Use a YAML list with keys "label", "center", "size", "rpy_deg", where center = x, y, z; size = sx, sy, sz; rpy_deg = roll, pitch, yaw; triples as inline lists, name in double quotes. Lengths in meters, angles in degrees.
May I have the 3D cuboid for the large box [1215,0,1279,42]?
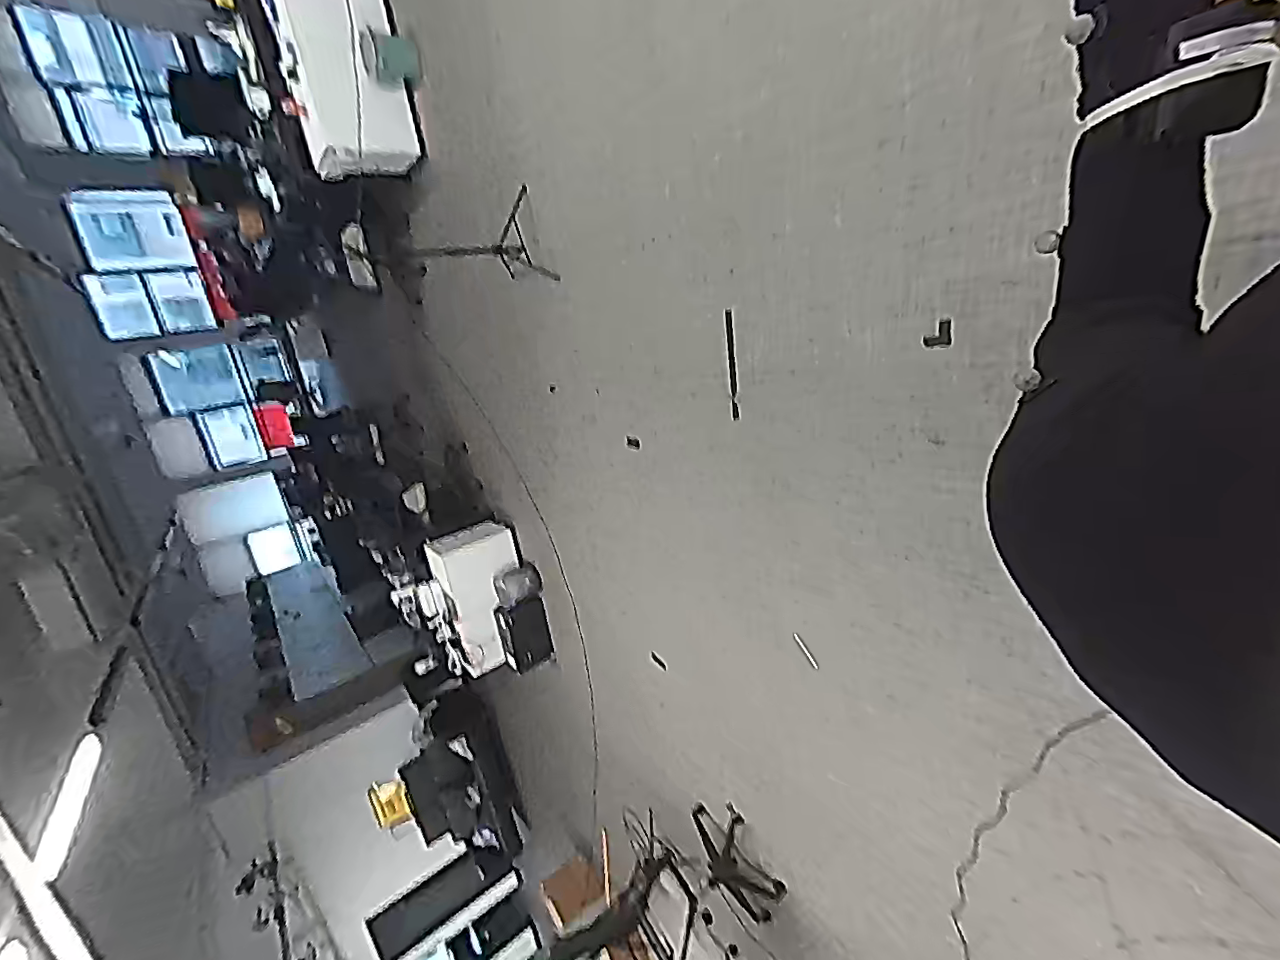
- label: "large box"
  center: [0.556, -0.482, 0.232]
  size: [0.408, 0.320, 0.320]
  rpy_deg: [8, 118, 51]
